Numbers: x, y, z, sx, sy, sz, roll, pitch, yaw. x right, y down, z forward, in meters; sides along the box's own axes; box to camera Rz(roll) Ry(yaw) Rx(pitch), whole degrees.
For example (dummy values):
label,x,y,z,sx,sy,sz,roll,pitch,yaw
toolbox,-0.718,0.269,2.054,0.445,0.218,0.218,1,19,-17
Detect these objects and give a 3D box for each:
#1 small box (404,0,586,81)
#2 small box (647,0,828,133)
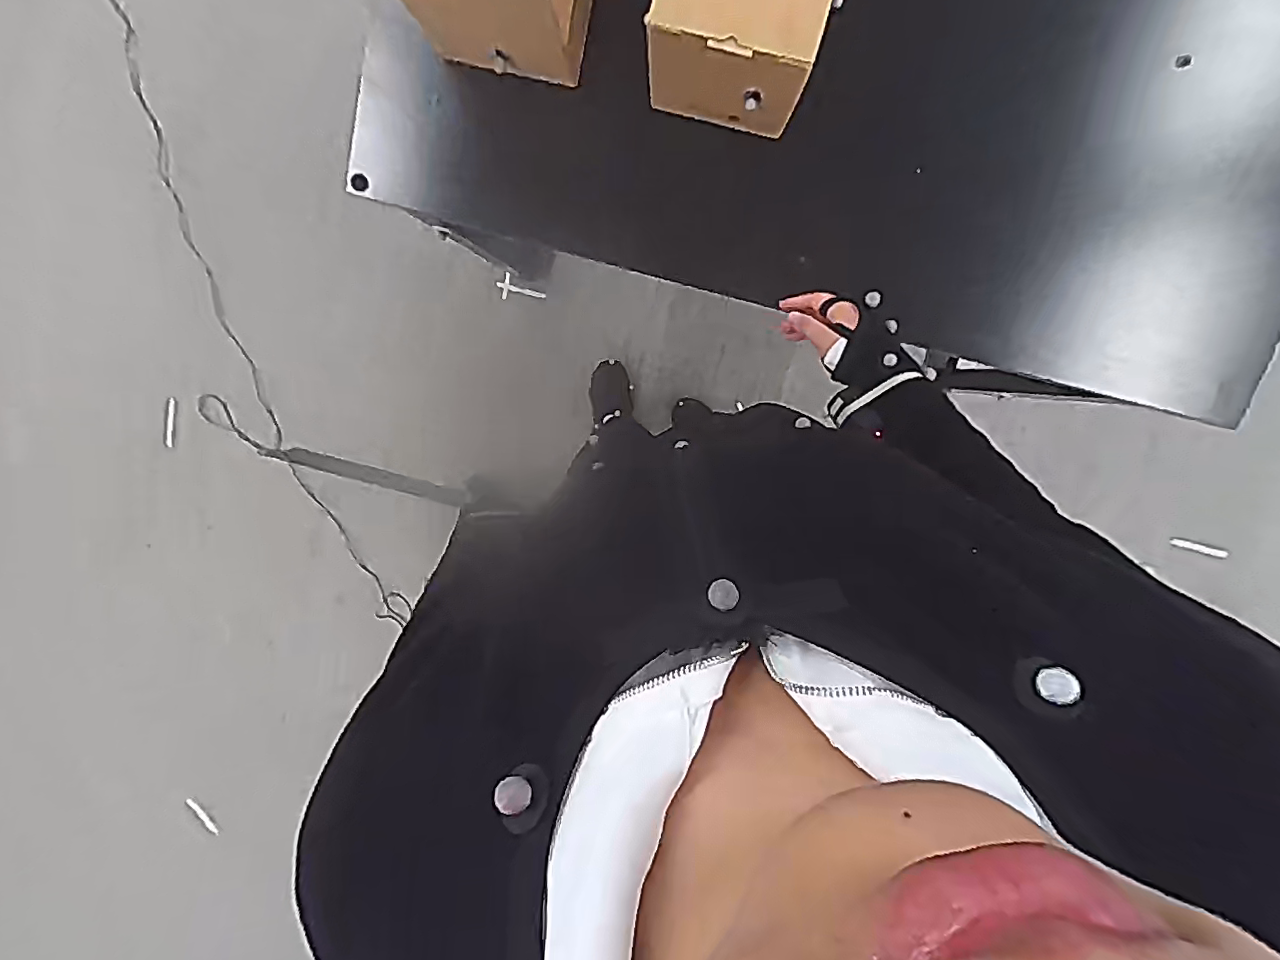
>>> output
label,x,y,z,sx,sy,sz,roll,pitch,yaw
small box,-0.148,-0.566,0.575,0.179,0.176,0.168,12,101,-1
small box,0.108,-0.511,0.578,0.168,0.176,0.179,14,100,-2
